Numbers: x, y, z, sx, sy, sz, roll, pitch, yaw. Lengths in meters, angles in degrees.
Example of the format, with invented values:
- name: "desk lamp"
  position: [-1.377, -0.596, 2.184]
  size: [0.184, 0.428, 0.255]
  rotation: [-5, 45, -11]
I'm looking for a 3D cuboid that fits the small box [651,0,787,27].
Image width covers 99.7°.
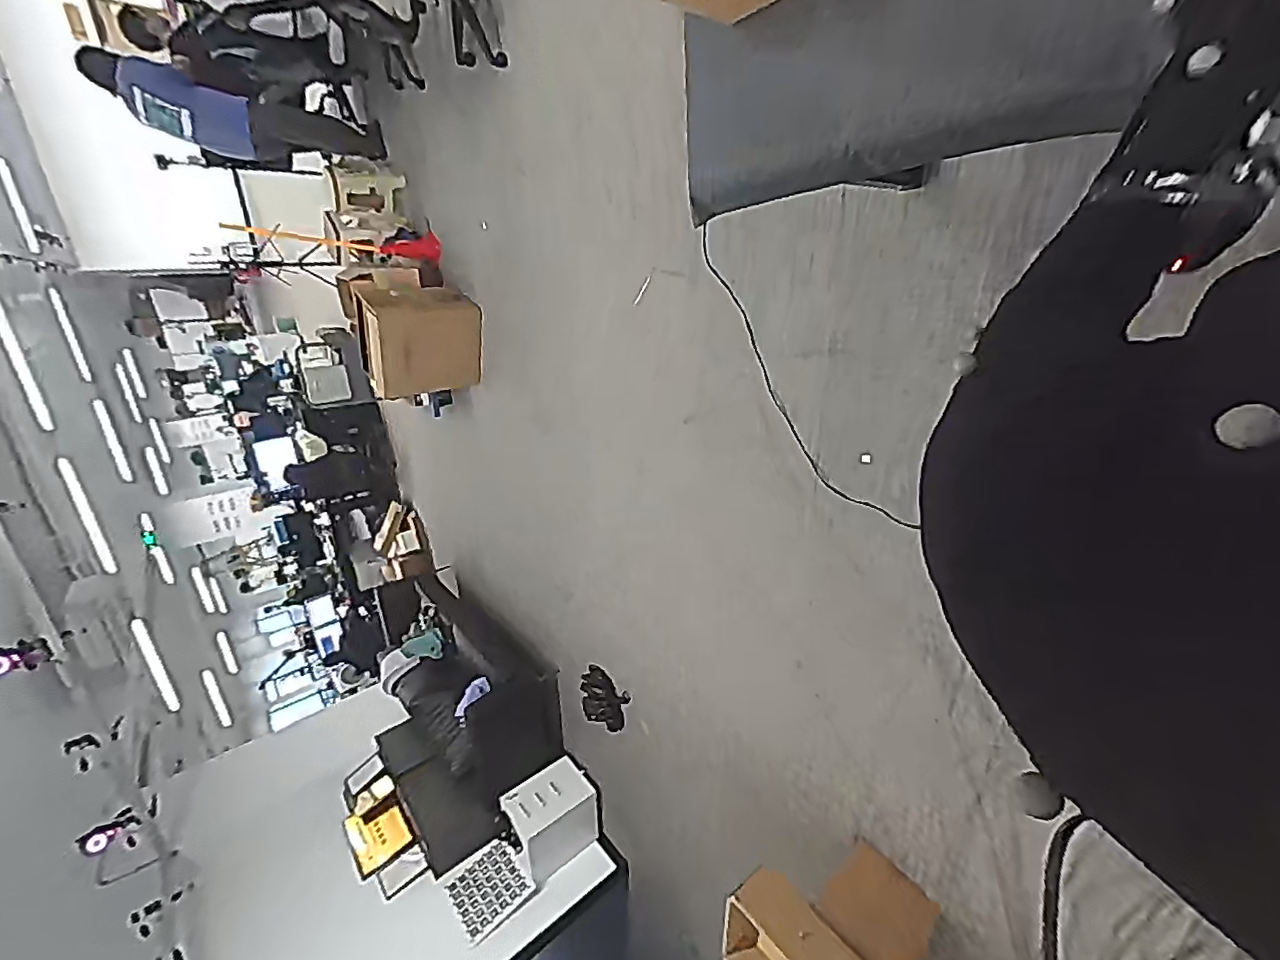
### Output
- name: "small box"
  position: [0.126, -0.725, 0.692]
  size: [0.179, 0.176, 0.168]
  rotation: [17, 118, 47]
